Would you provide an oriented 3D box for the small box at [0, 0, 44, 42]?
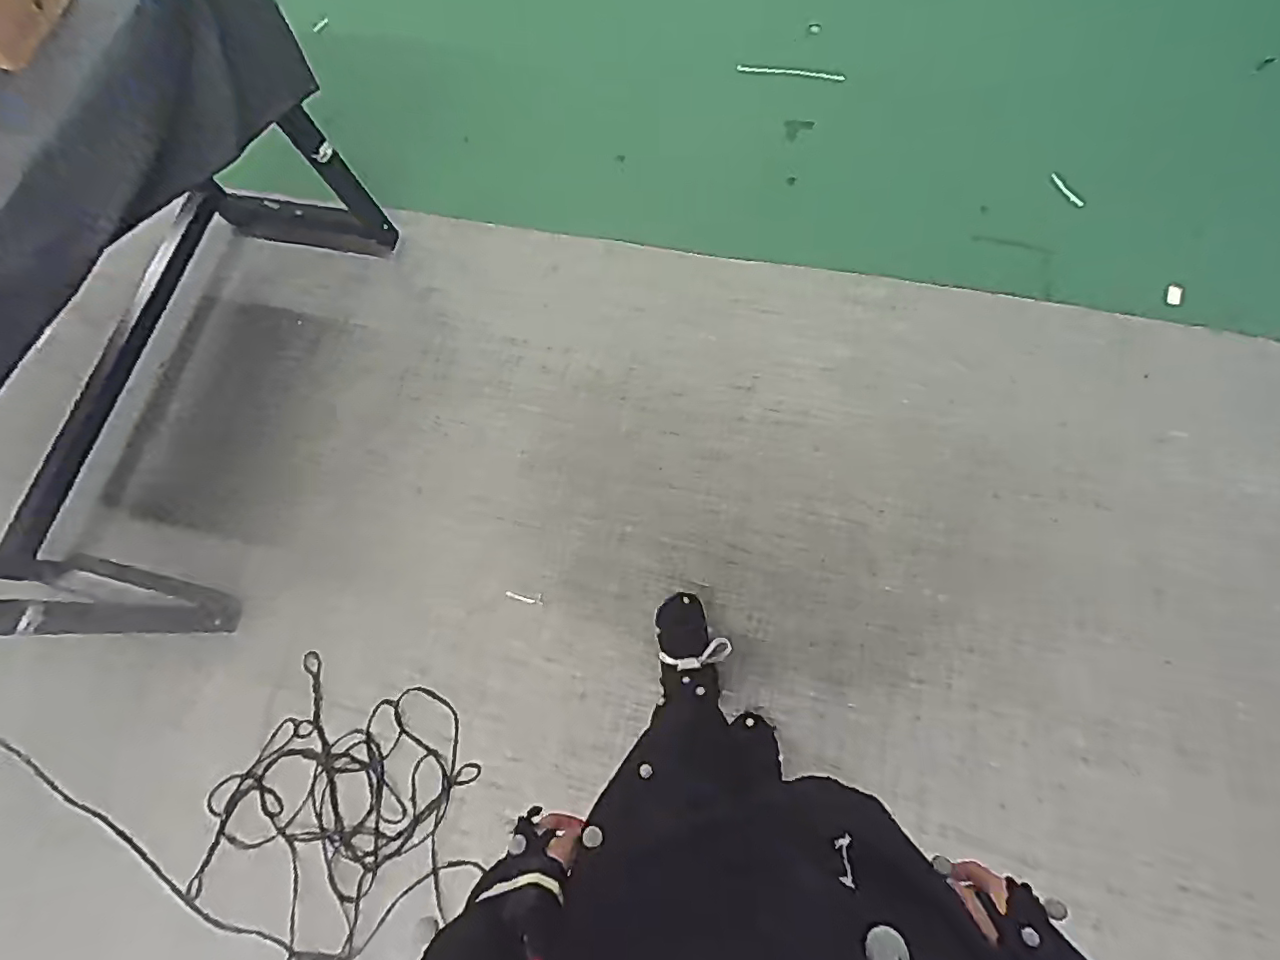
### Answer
[{"bbox_3d":[-1.025,-0.766,0.776,0.179,0.176,0.168,14,76,11],"label":"small box"}]
